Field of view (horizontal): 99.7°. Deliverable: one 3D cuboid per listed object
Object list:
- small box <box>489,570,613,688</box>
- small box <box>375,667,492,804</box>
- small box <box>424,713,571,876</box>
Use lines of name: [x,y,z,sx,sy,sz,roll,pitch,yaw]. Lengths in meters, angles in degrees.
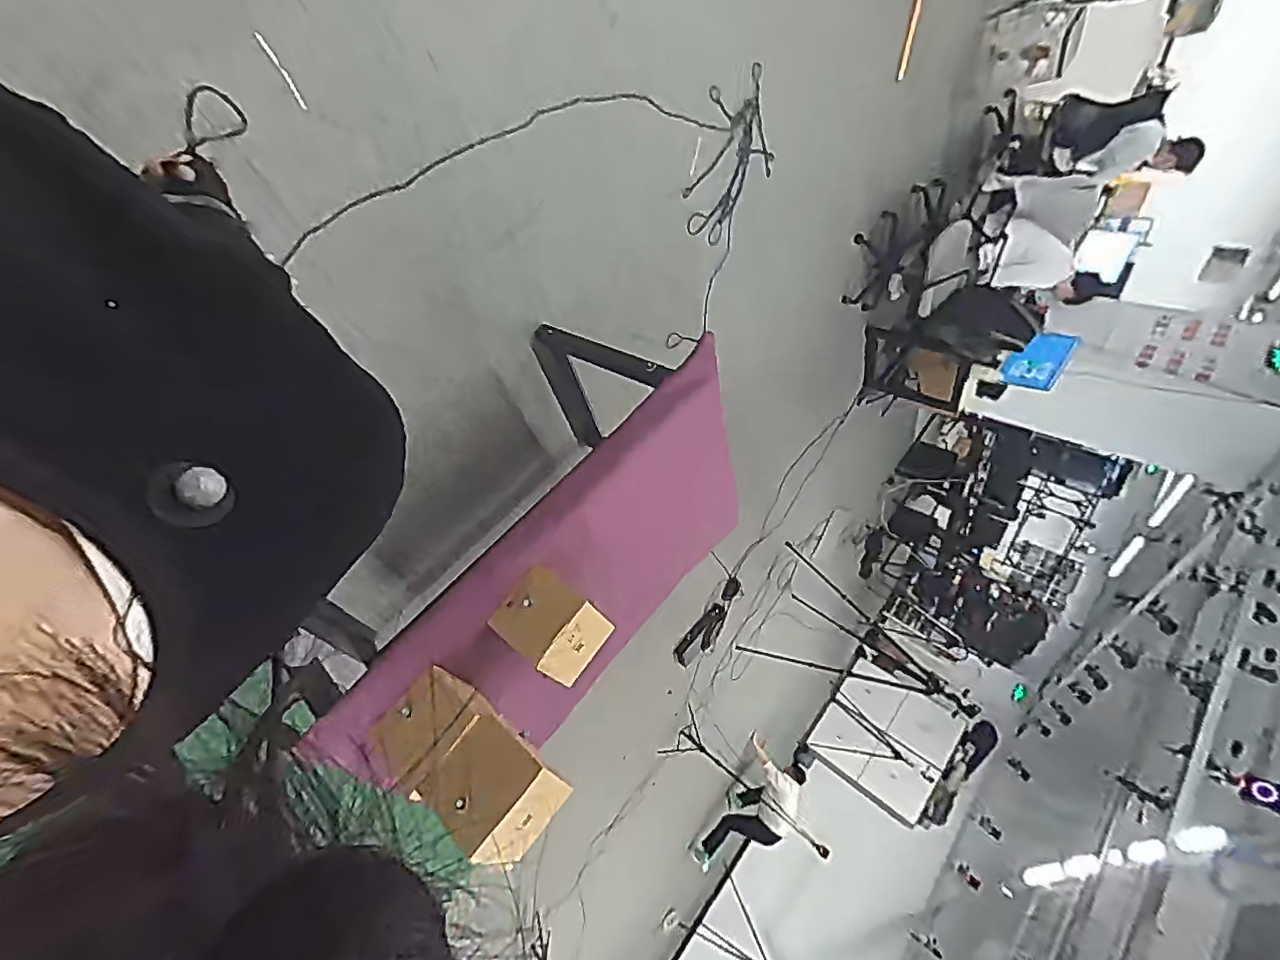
small box: [-0.196,0.326,1.197,0.168,0.176,0.179,-51,144,-16]
small box: [-0.392,0.510,1.072,0.179,0.176,0.168,-49,144,-18]
small box: [-0.264,0.570,0.988,0.179,0.176,0.168,-46,142,-24]
